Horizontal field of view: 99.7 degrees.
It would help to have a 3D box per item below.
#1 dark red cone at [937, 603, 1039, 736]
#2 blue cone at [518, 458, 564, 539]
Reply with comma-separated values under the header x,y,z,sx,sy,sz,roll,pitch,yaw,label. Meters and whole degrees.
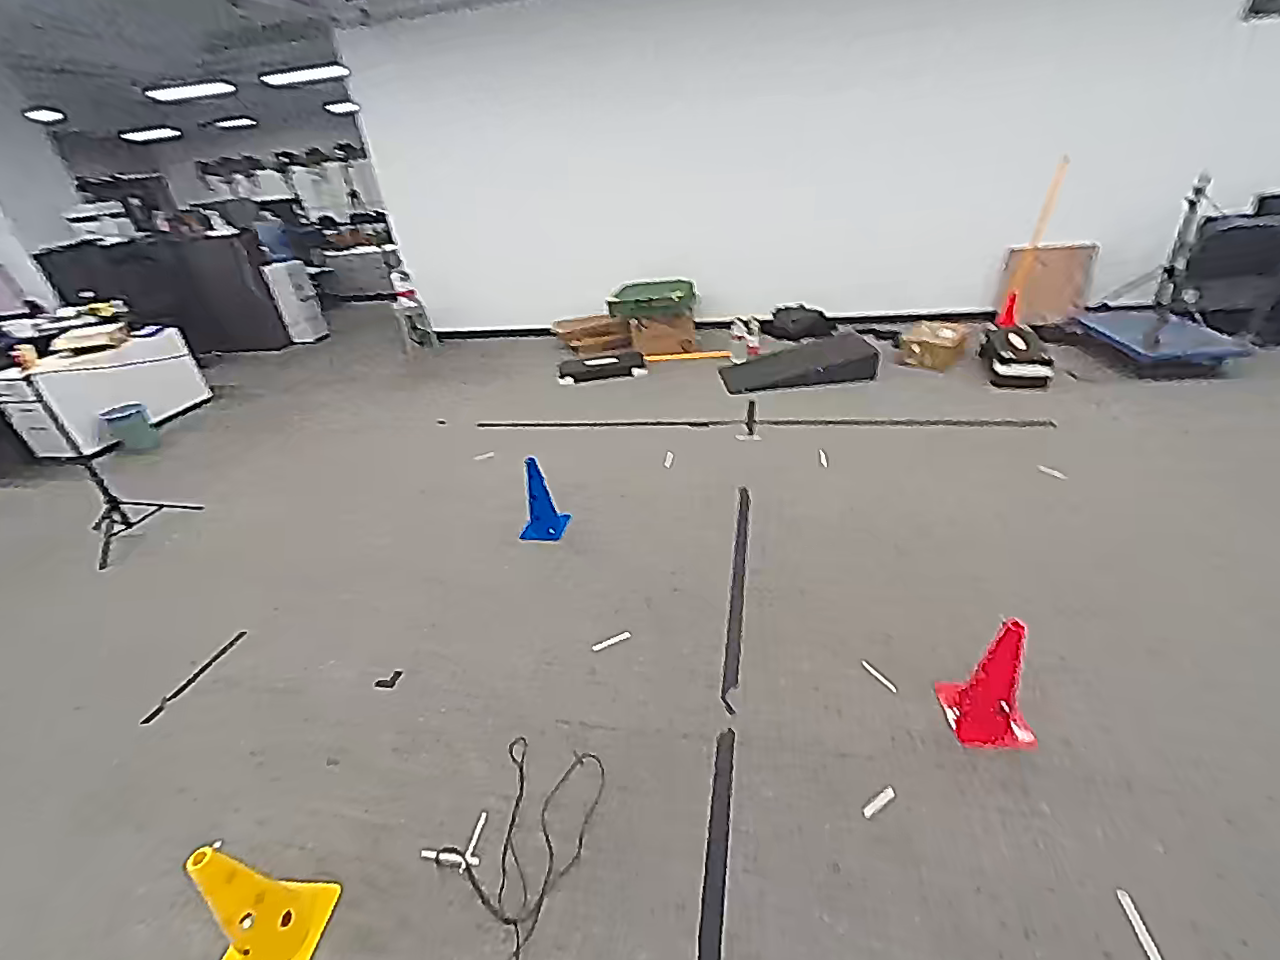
x,y,z,sx,sy,sz,roll,pitch,yaw,label
0.938,0.476,1.414,0.201,0.394,0.202,-4,31,6,dark red cone
-0.468,0.073,2.393,0.192,0.380,0.193,1,31,13,blue cone
